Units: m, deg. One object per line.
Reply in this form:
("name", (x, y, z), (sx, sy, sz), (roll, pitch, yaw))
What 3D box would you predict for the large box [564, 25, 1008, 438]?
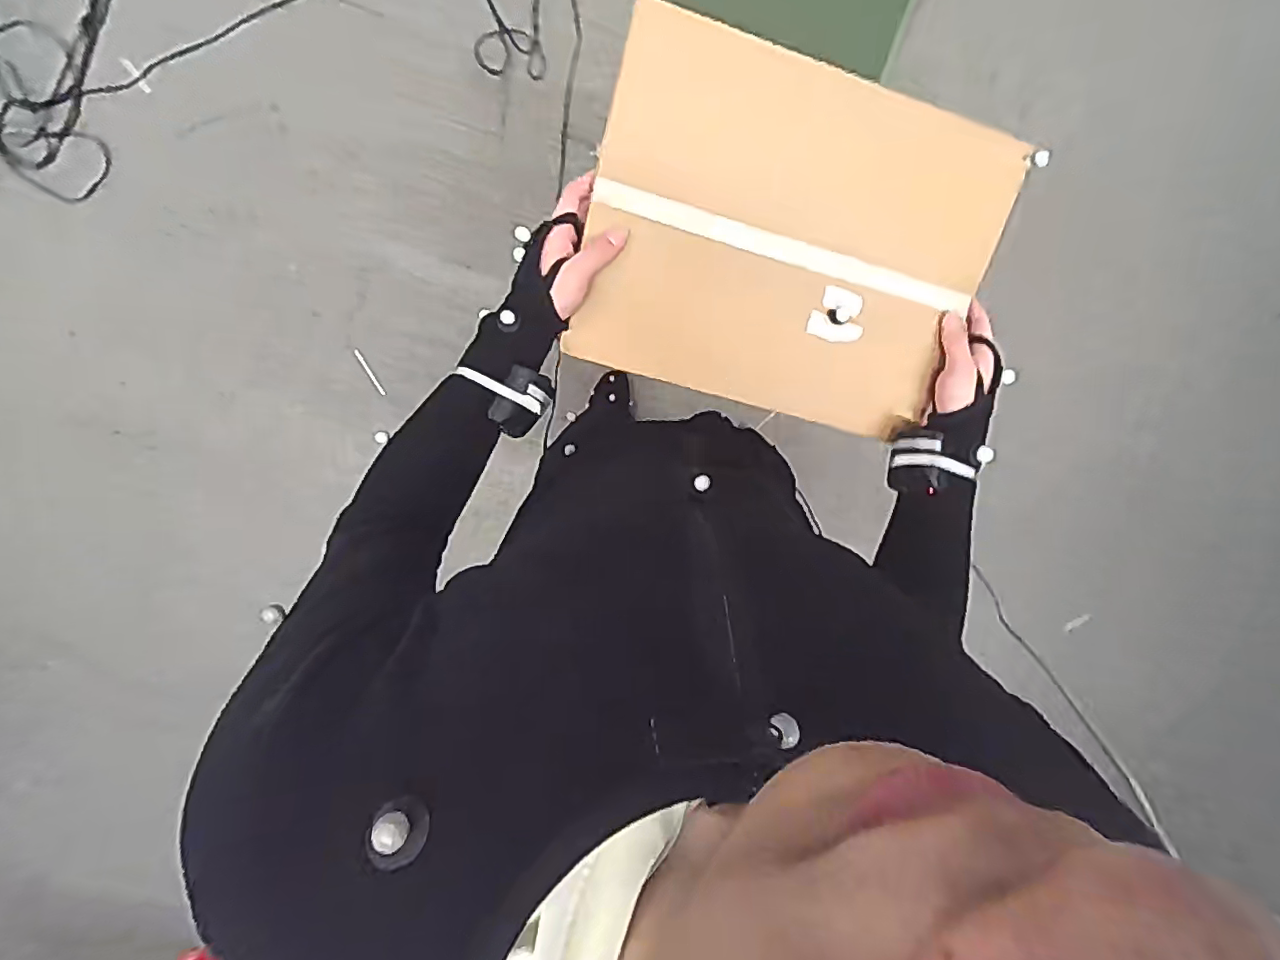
("large box", (0.132, -0.272, 0.695), (0.408, 0.320, 0.320), (13, 106, -9))
